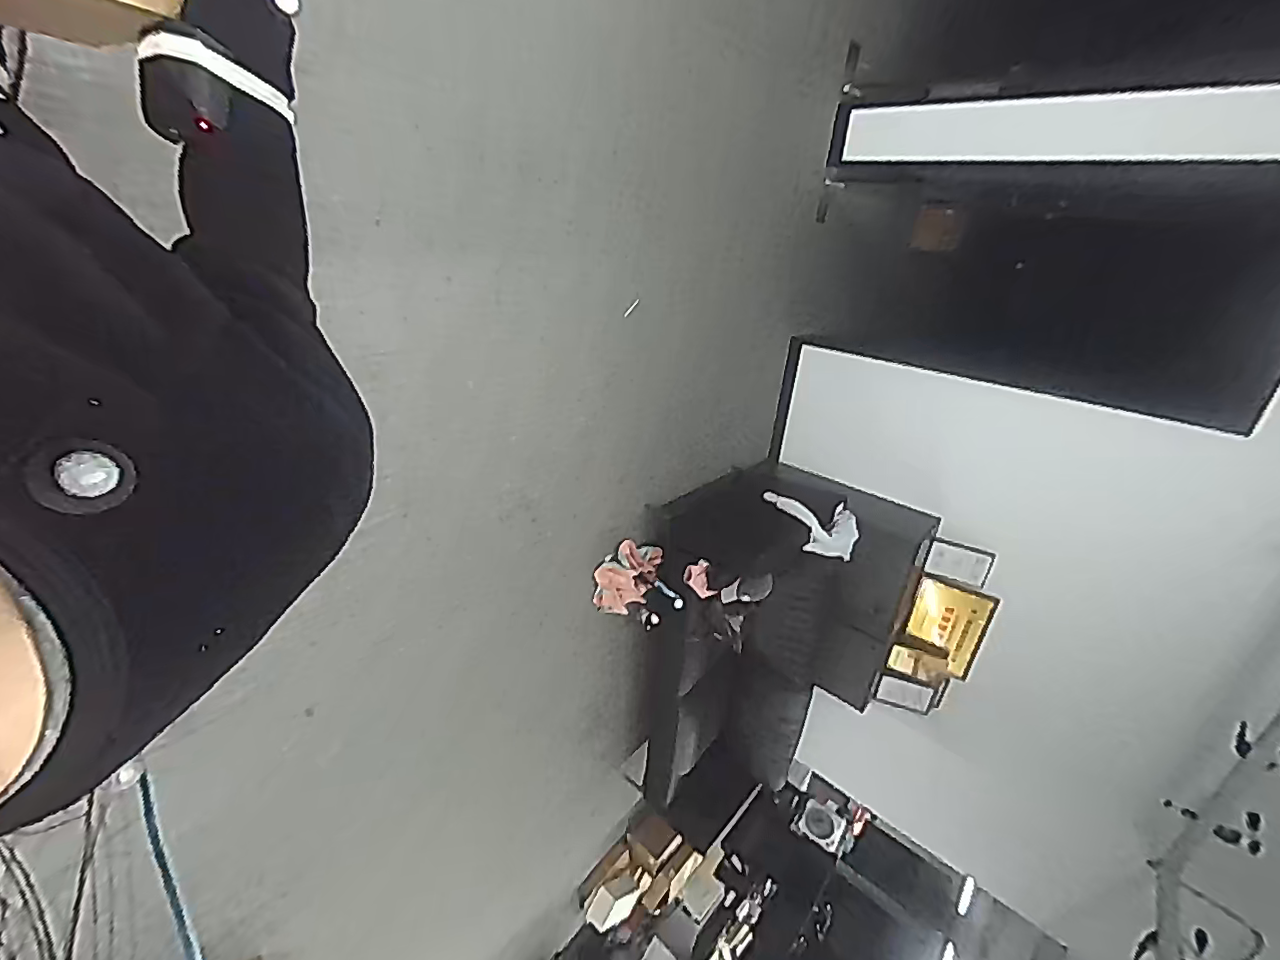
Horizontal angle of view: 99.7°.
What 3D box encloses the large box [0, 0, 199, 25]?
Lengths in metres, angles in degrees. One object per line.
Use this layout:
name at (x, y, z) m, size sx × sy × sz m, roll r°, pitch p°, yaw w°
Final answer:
large box at (-0.554, -0.506, 0.286) m, size 0.408 × 0.320 × 0.320 m, roll -21°, pitch 128°, yaw -50°
